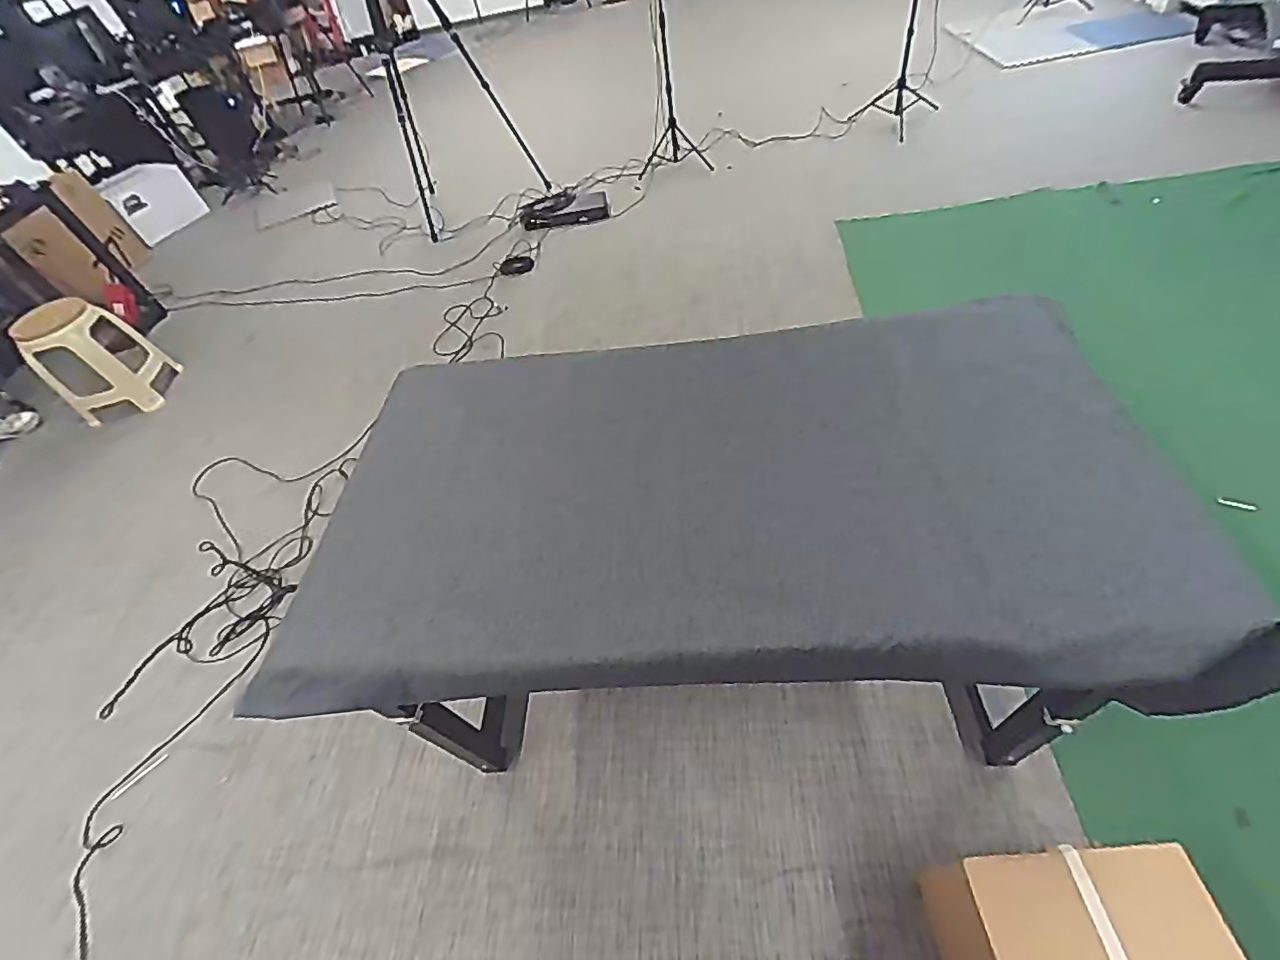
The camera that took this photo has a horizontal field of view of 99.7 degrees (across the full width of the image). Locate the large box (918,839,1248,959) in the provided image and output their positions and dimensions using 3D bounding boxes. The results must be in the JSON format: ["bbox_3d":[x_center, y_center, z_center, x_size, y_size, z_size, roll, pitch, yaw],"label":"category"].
[{"bbox_3d":[0.672,0.792,0.796,0.320,0.320,0.408,-8,51,6],"label":"large box"}]
